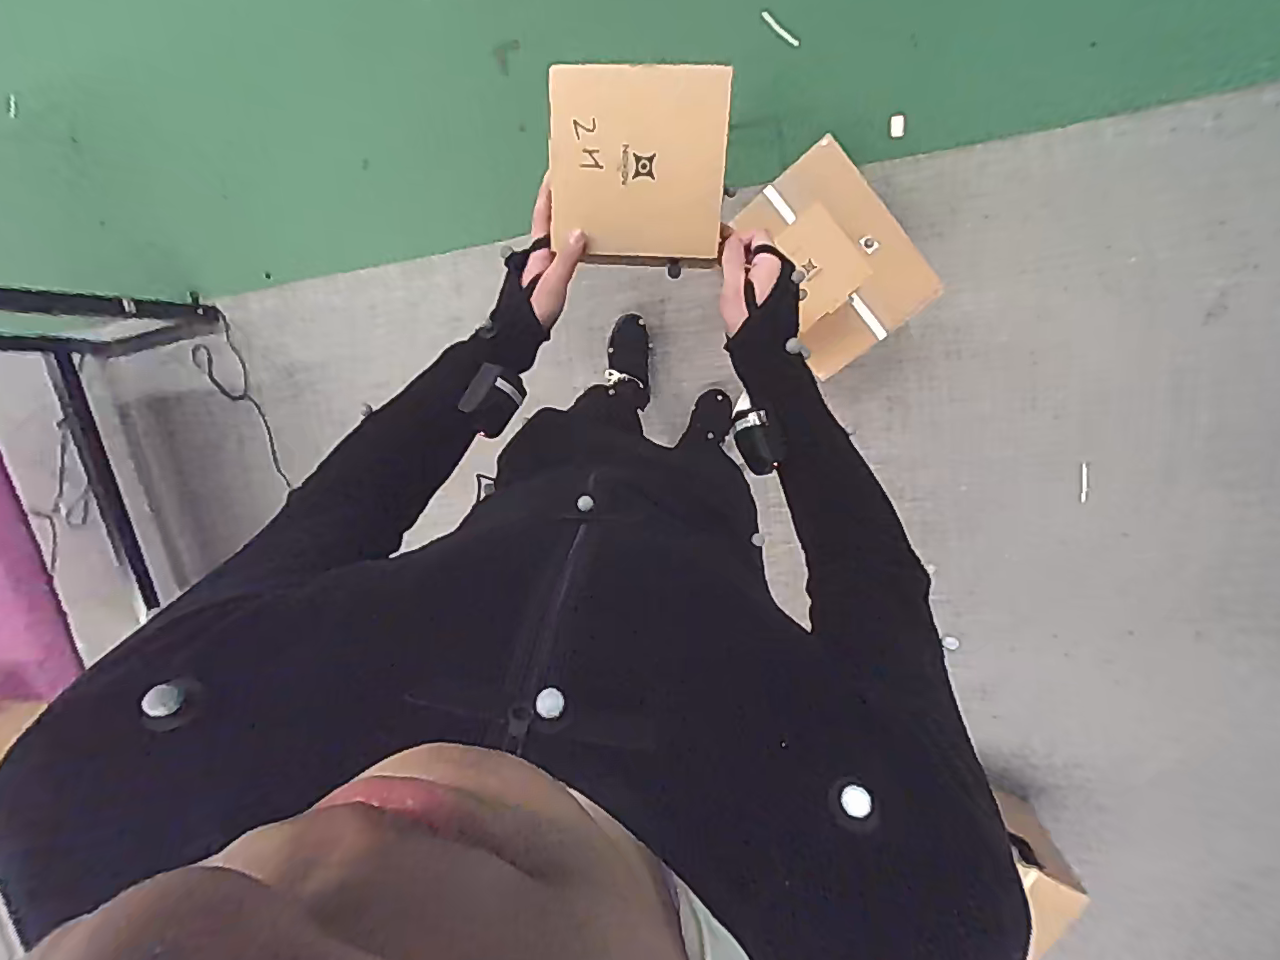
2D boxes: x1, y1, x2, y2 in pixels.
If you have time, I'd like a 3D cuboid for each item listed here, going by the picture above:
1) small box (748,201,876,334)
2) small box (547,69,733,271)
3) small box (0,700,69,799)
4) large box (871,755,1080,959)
[{"bbox_3d":[0.332,-0.411,1.077,0.168,0.176,0.179,-38,94,16],"label":"small box"},{"bbox_3d":[0.004,-0.324,0.596,0.179,0.176,0.168,4,109,6],"label":"small box"},{"bbox_3d":[-1.451,0.611,1.201,0.179,0.176,0.168,-8,102,13],"label":"small box"},{"bbox_3d":[0.945,1.124,1.590,0.320,0.320,0.408,25,105,2],"label":"large box"}]
